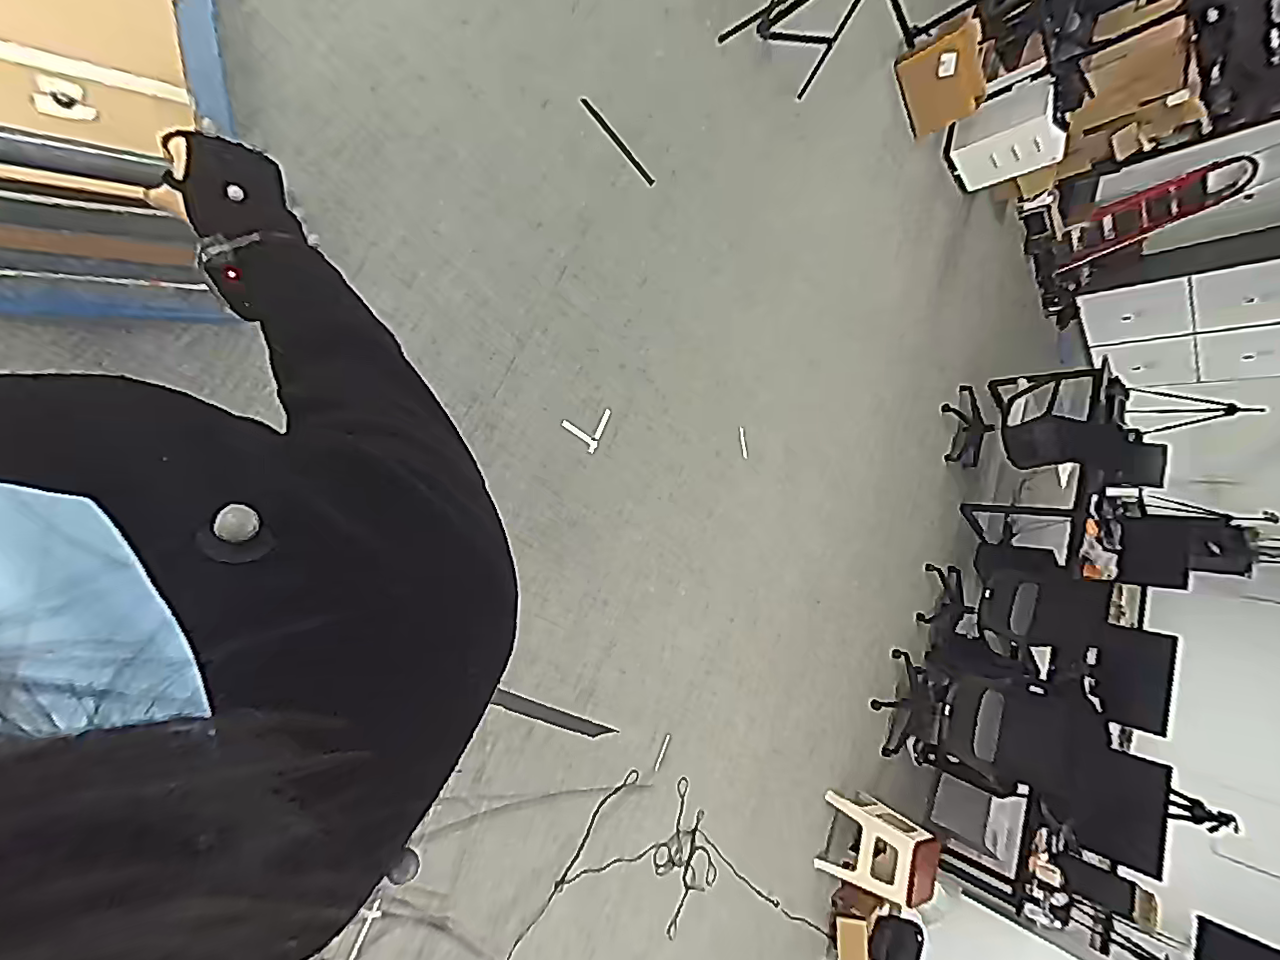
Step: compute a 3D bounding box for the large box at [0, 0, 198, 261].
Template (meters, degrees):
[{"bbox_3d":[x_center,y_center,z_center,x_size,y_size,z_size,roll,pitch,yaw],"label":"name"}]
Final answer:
[{"bbox_3d":[-0.924,-0.536,0.774,0.408,0.320,0.320,-10,98,-42],"label":"large box"}]
